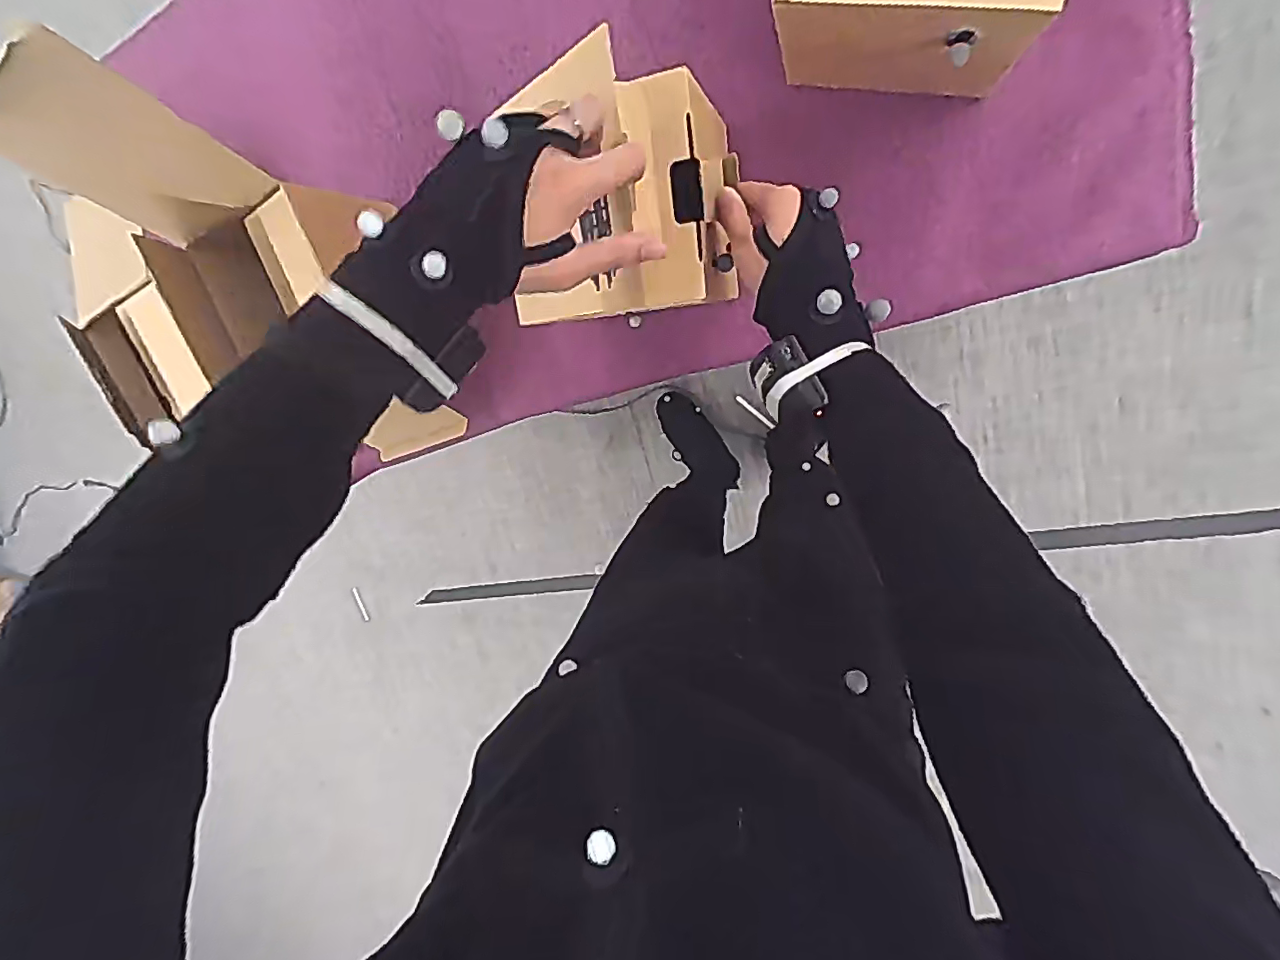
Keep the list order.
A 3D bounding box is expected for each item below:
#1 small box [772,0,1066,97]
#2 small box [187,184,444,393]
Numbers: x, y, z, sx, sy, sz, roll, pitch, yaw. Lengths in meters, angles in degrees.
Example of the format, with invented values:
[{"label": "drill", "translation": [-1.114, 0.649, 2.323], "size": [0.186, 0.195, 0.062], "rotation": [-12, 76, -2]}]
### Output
[{"label": "small box", "translation": [0.206, -0.397, 0.384], "size": [0.179, 0.176, 0.168], "rotation": [15, 113, 14]}, {"label": "small box", "translation": [-0.370, -0.222, 0.649], "size": [0.168, 0.176, 0.179], "rotation": [-14, 104, 22]}]
